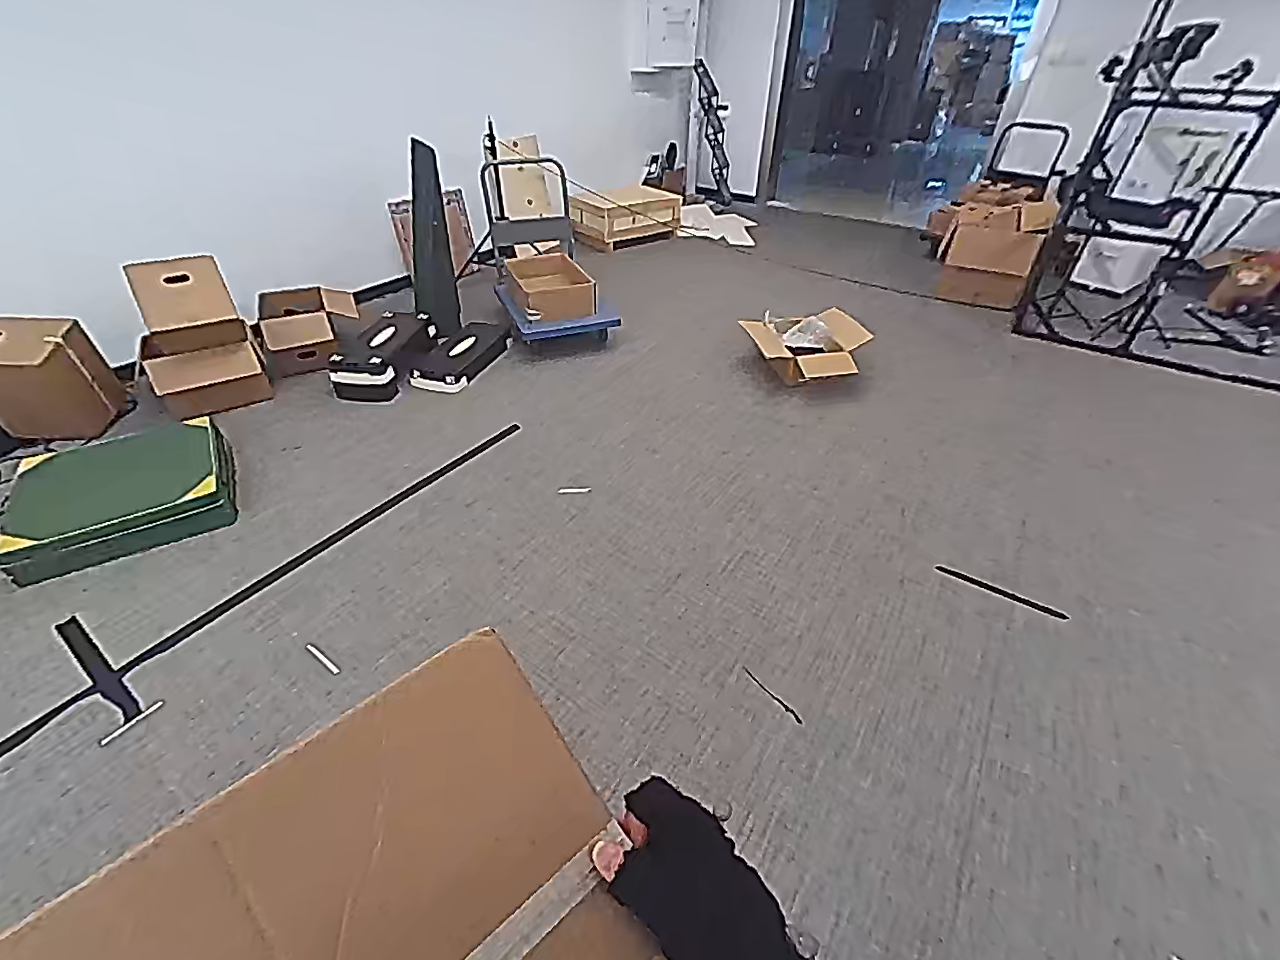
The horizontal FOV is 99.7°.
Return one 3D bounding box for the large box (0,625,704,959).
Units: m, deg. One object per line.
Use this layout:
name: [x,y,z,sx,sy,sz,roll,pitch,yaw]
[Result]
large box: [-0.214,0.369,0.382,0.408,0.320,0.320,-31,81,-28]
